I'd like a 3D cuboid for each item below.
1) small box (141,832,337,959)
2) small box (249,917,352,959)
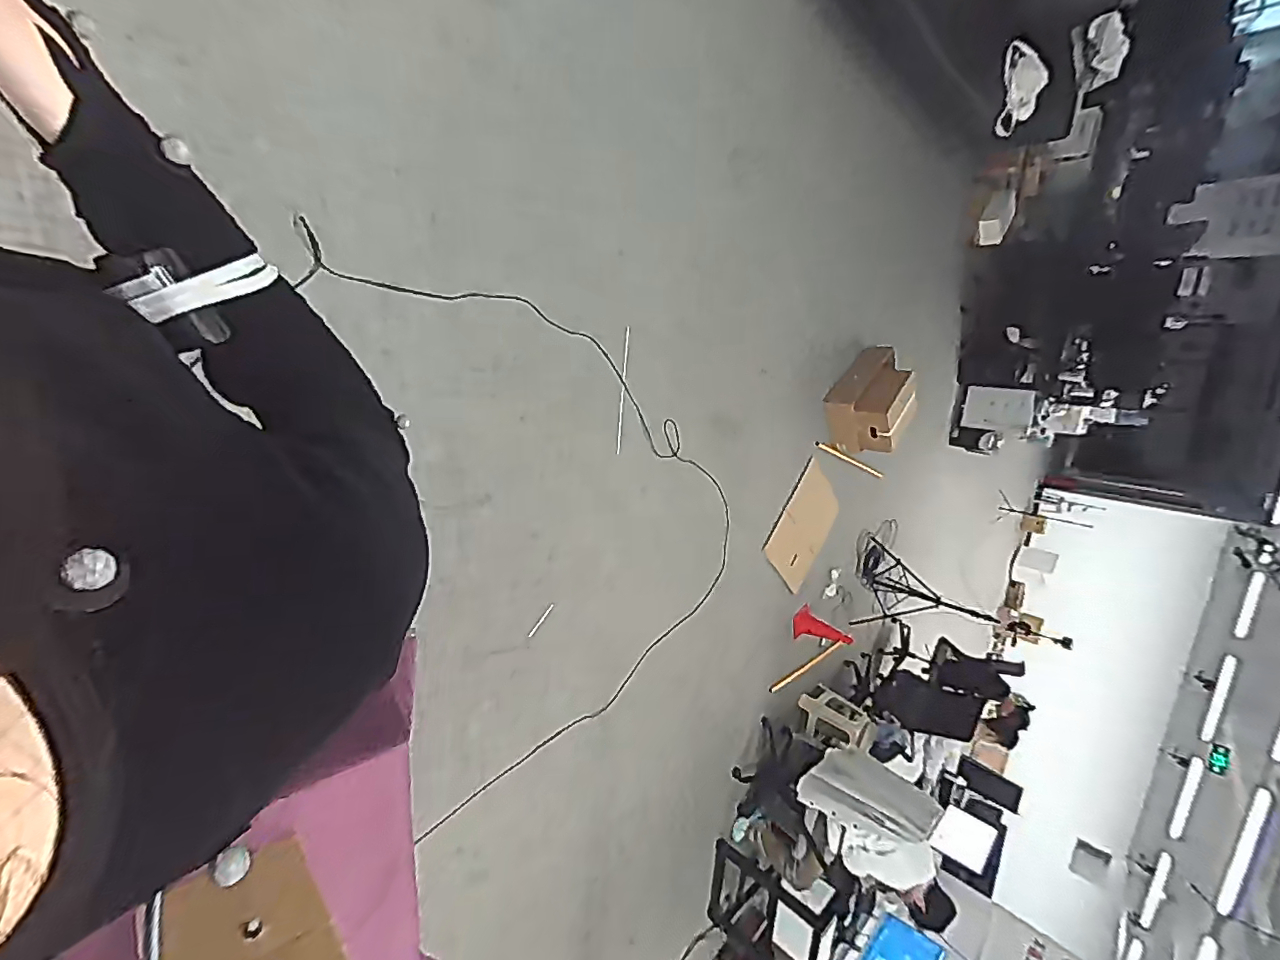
[{"bbox_3d":[-0.513,0.608,0.696,0.179,0.176,0.168,-5,106,-45],"label":"small box"},{"bbox_3d":[-0.401,0.644,0.583,0.179,0.176,0.168,-6,107,-47],"label":"small box"}]
